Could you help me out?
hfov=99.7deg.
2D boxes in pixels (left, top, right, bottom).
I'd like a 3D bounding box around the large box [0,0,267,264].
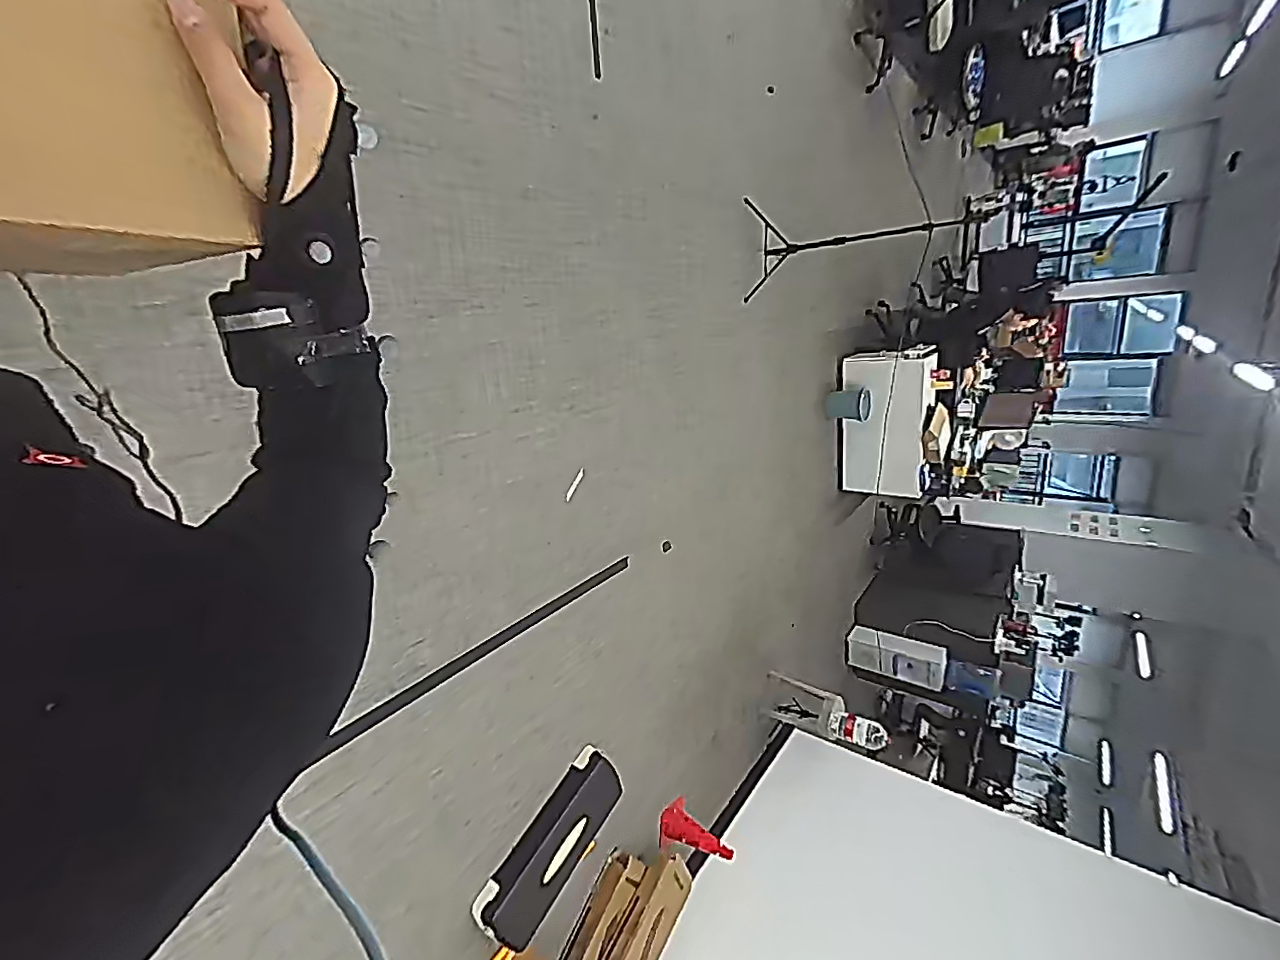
[{"bbox_3d":[-0.463,-0.270,0.209,0.408,0.320,0.320,-24,119,-54],"label":"large box"}]
